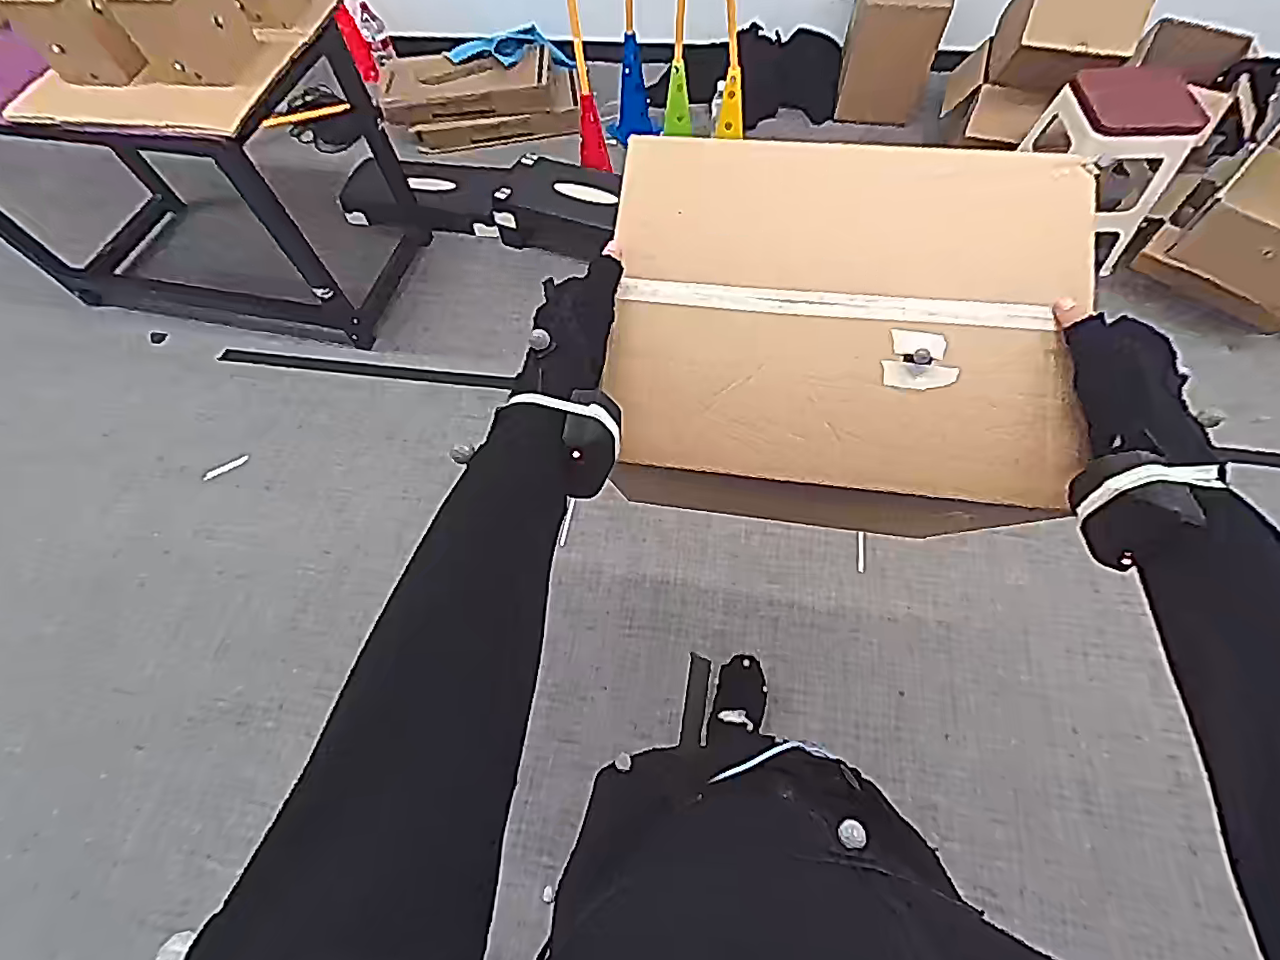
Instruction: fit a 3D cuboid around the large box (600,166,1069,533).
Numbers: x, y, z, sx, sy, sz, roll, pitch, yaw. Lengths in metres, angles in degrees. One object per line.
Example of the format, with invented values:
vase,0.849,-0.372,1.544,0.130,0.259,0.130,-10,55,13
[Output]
large box,0.185,-0.118,0.636,0.408,0.320,0.320,6,82,6
